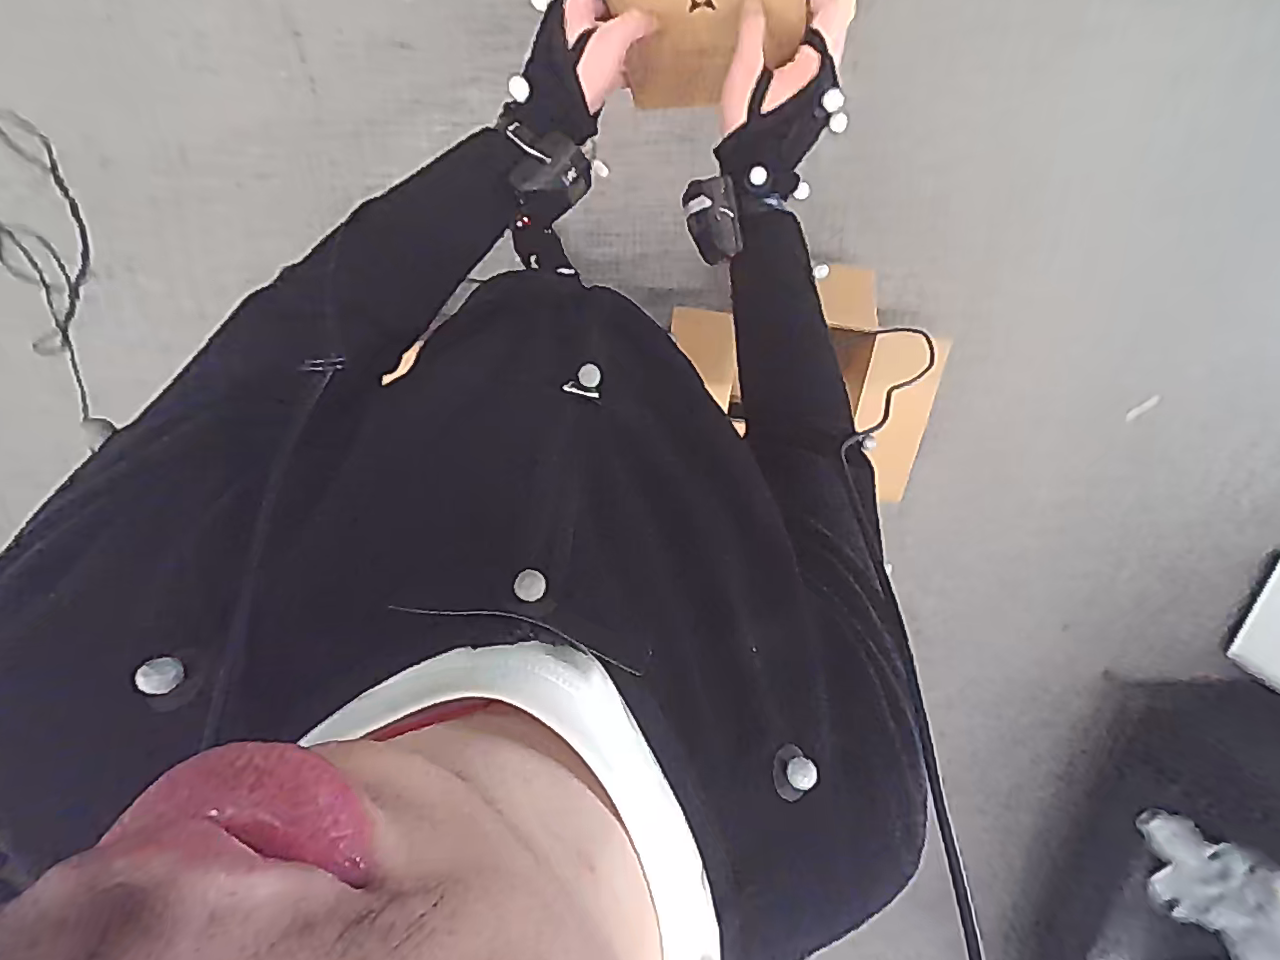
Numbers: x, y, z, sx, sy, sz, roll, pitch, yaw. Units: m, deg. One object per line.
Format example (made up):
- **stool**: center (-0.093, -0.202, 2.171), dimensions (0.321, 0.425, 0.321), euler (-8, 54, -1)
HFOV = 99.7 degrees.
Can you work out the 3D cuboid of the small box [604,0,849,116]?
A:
- **small box**: center (0.075, -0.438, 0.442), dimensions (0.168, 0.176, 0.179), euler (14, 153, 24)
